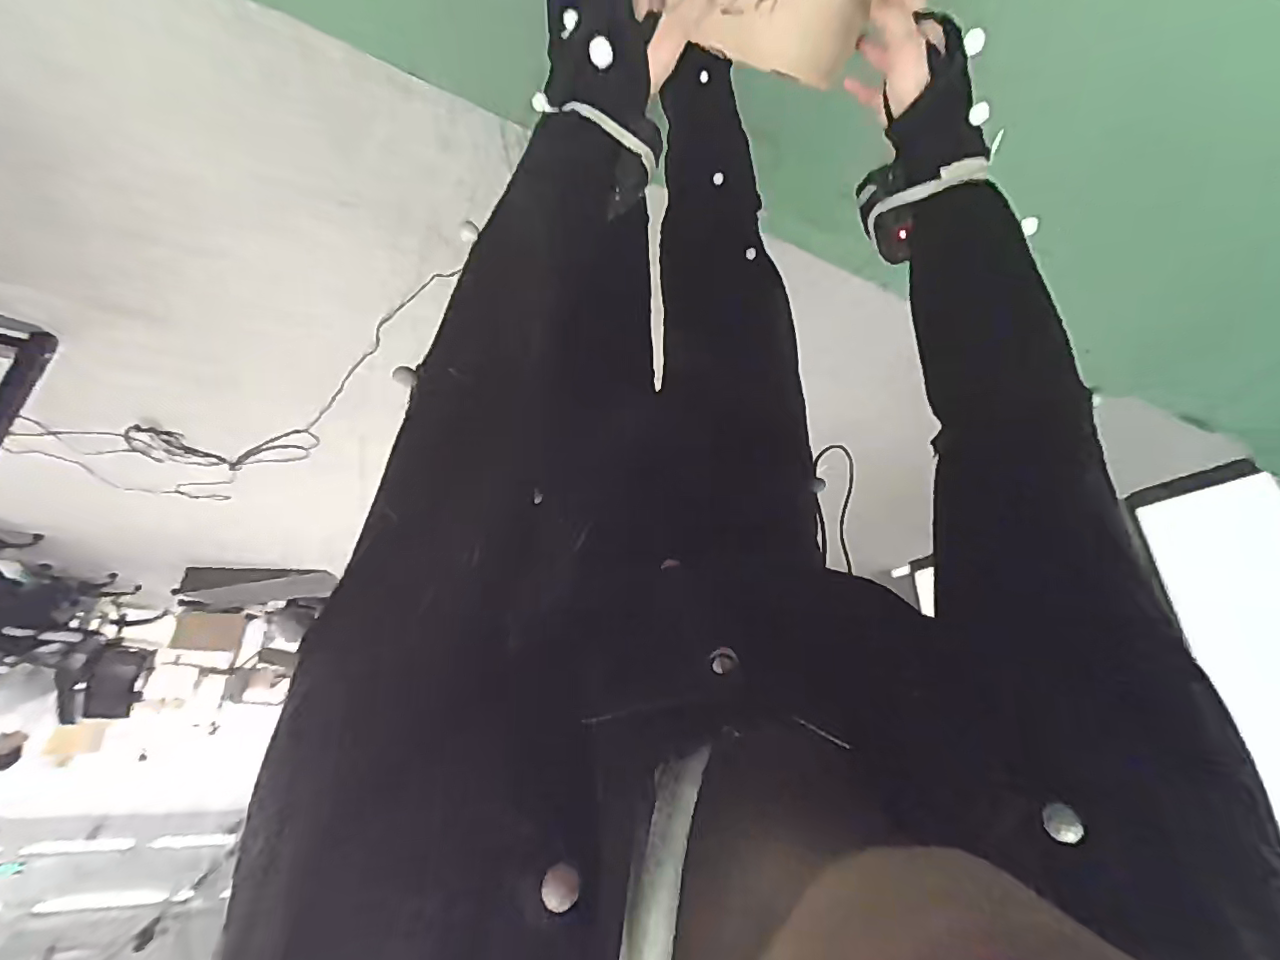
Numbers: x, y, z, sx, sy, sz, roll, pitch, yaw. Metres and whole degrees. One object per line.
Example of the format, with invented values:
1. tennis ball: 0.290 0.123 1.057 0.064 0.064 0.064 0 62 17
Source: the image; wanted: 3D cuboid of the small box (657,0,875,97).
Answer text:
1. small box: 0.108 -0.468 0.442 0.168 0.176 0.179 6 145 -16
